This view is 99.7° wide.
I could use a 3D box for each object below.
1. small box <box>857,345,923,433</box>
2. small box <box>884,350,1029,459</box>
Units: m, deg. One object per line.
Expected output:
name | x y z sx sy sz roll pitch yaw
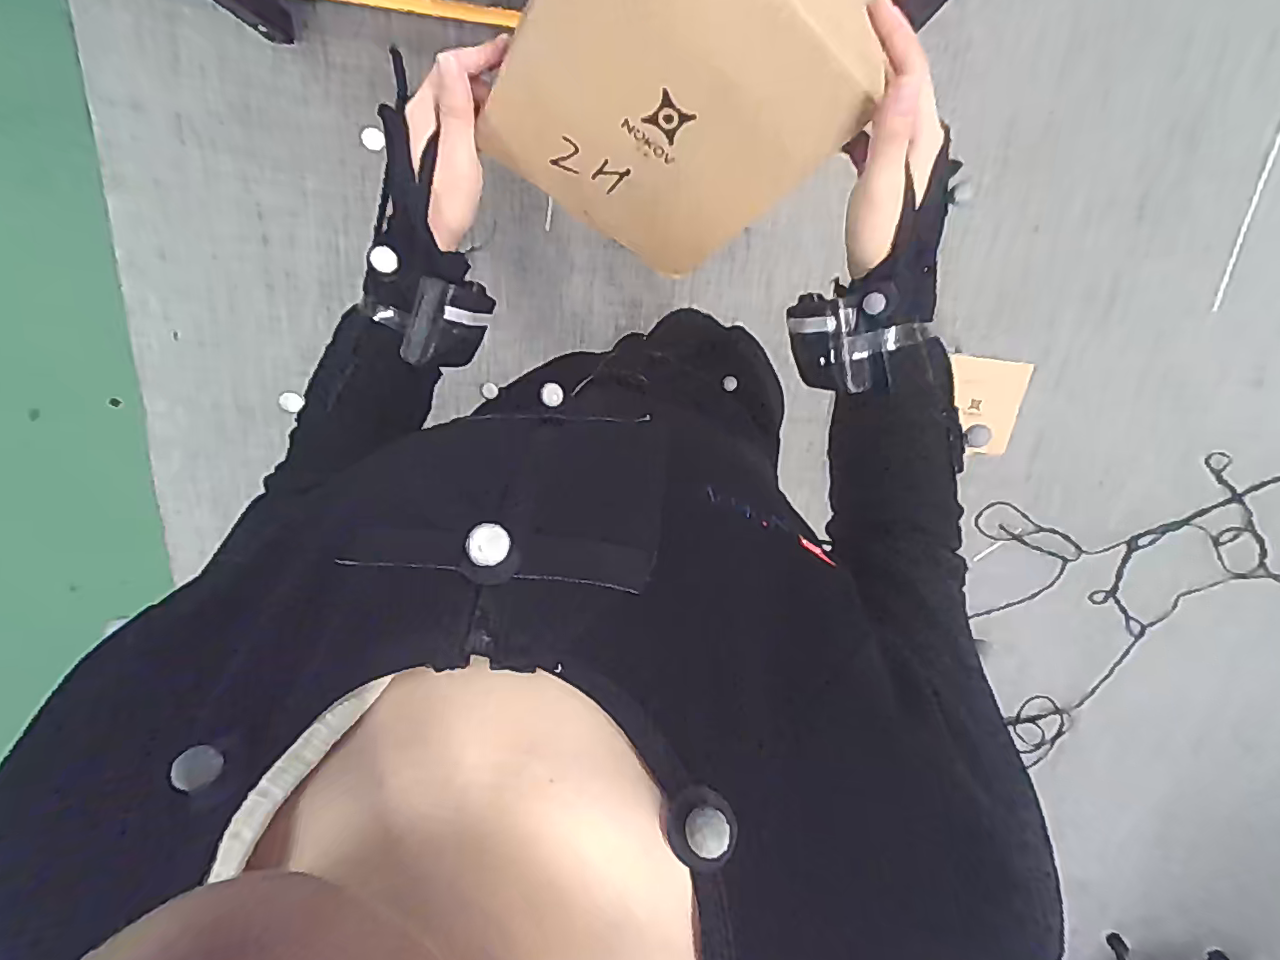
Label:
small box | 0.611 -0.200 1.220 0.168 0.176 0.179 9 109 -2
small box | 0.605 -0.153 1.063 0.168 0.176 0.179 6 107 -2
